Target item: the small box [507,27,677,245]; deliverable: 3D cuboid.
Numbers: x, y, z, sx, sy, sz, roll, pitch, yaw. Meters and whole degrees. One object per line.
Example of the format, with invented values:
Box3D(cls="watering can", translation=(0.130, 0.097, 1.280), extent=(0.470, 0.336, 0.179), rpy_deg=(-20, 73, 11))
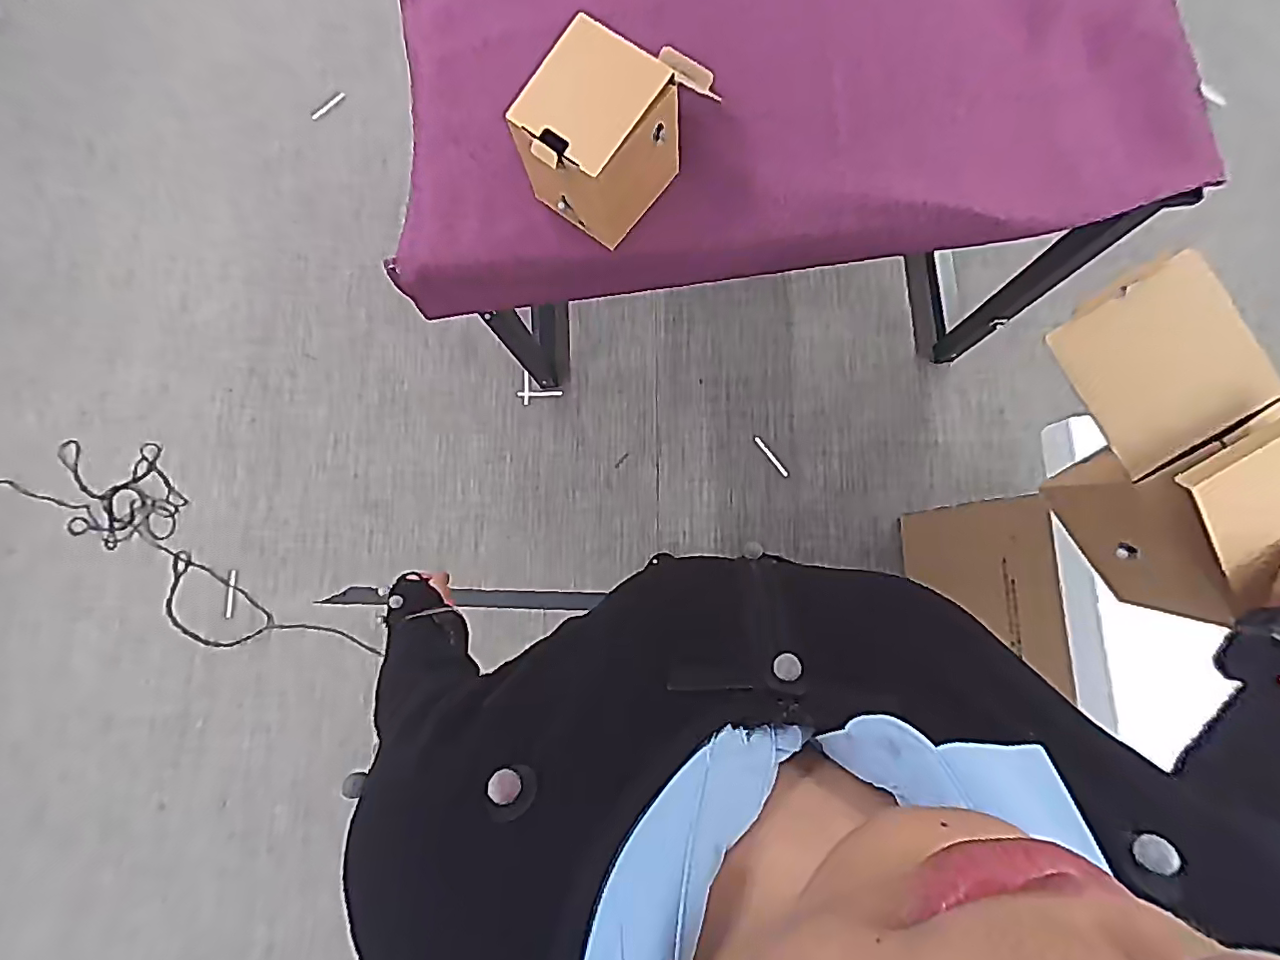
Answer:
Box3D(cls="small box", translation=(-0.061, -0.498, 0.804), extent=(0.168, 0.176, 0.179), rpy_deg=(38, 86, 10))
